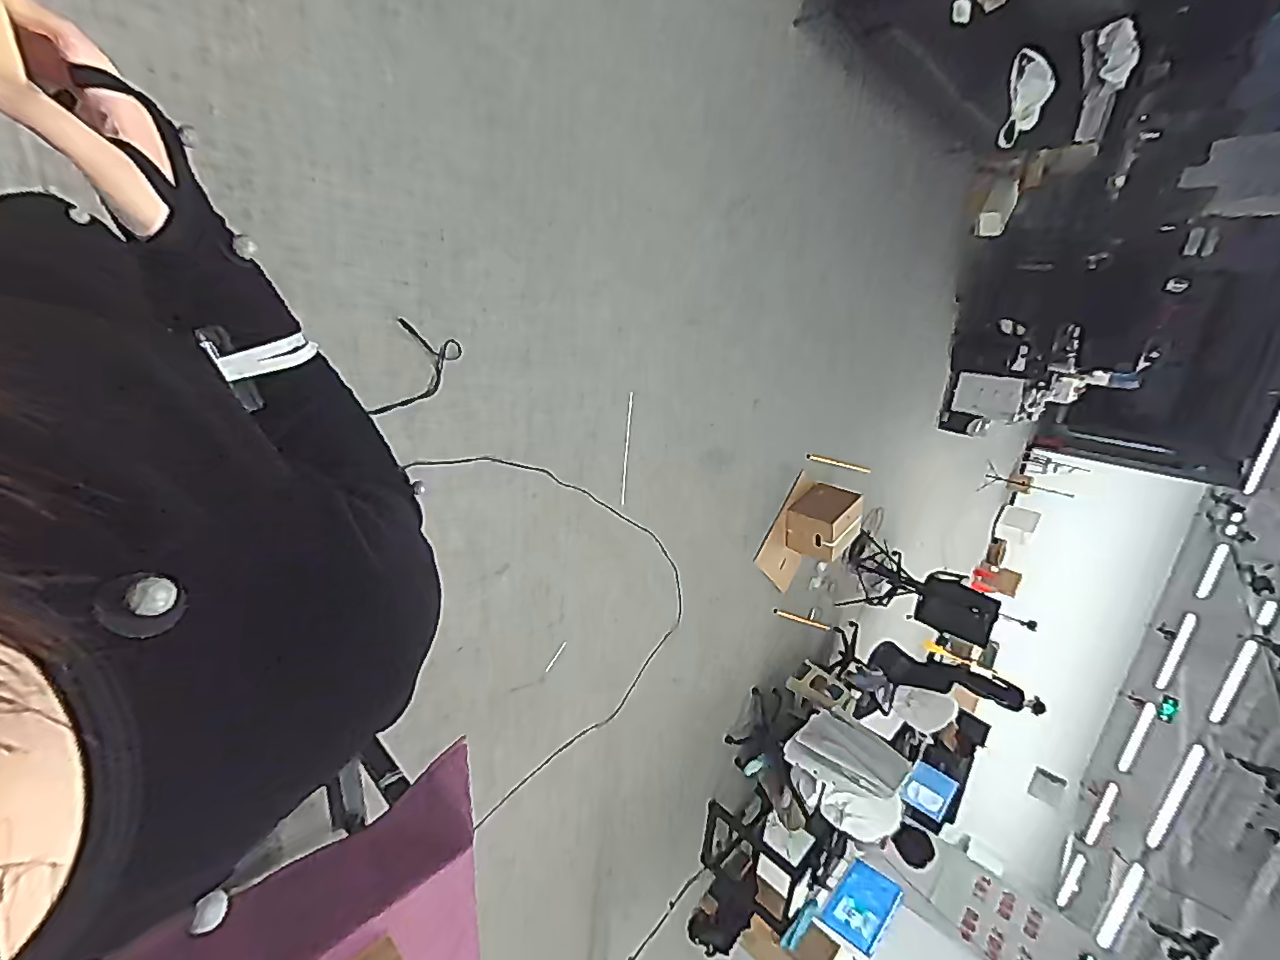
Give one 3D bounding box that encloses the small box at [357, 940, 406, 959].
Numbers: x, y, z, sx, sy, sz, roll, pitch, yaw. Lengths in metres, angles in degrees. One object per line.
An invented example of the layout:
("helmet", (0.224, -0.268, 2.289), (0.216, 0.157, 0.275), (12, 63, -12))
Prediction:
("small box", (-0.486, 0.987, 0.967), (0.168, 0.176, 0.179), (-16, 117, -43))
